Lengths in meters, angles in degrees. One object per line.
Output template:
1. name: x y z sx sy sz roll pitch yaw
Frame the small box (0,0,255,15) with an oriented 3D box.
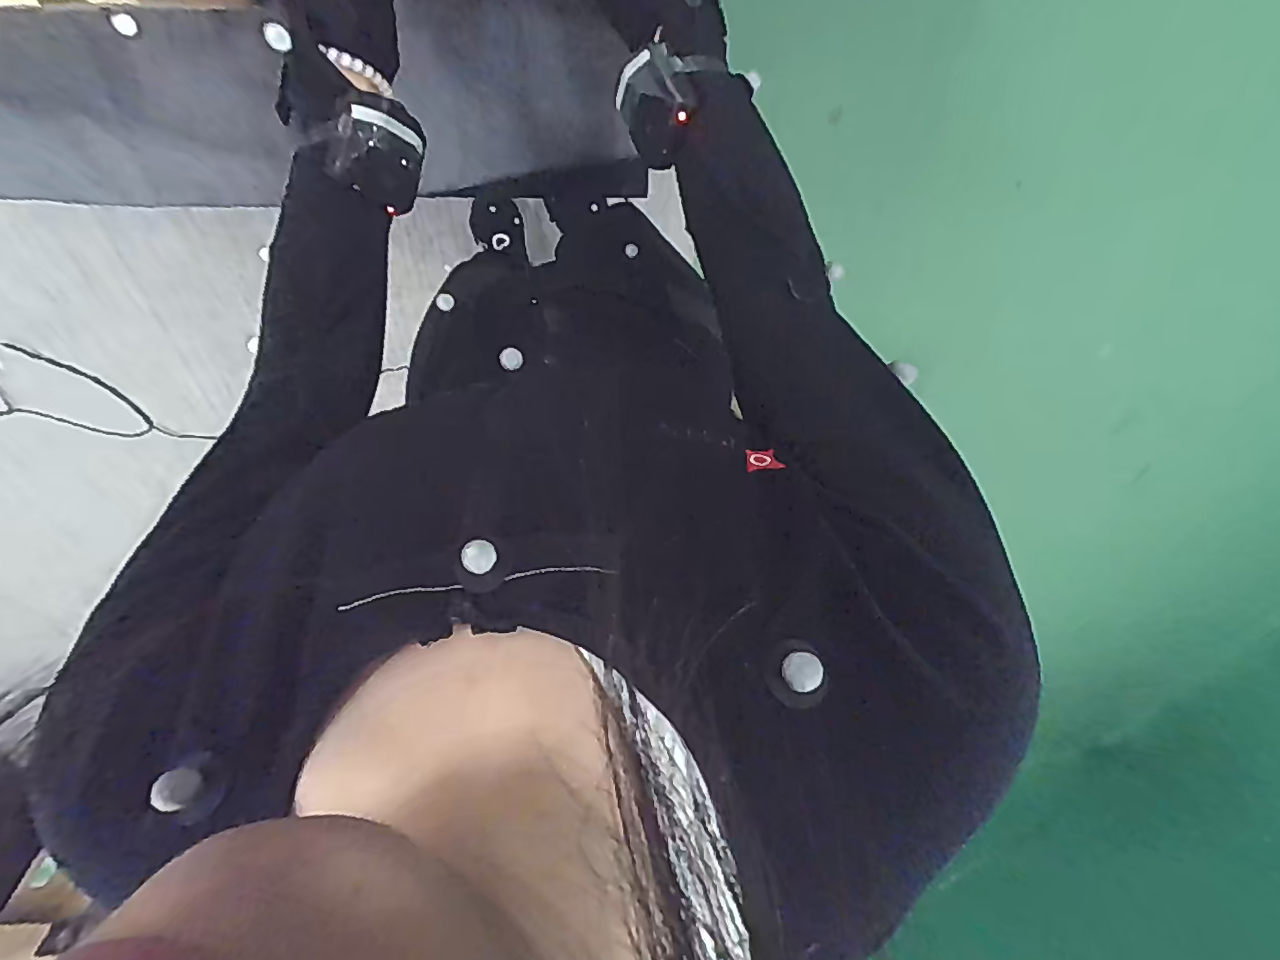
1. small box: -0.391 -0.405 0.333 0.168 0.176 0.179 -3 131 -3
